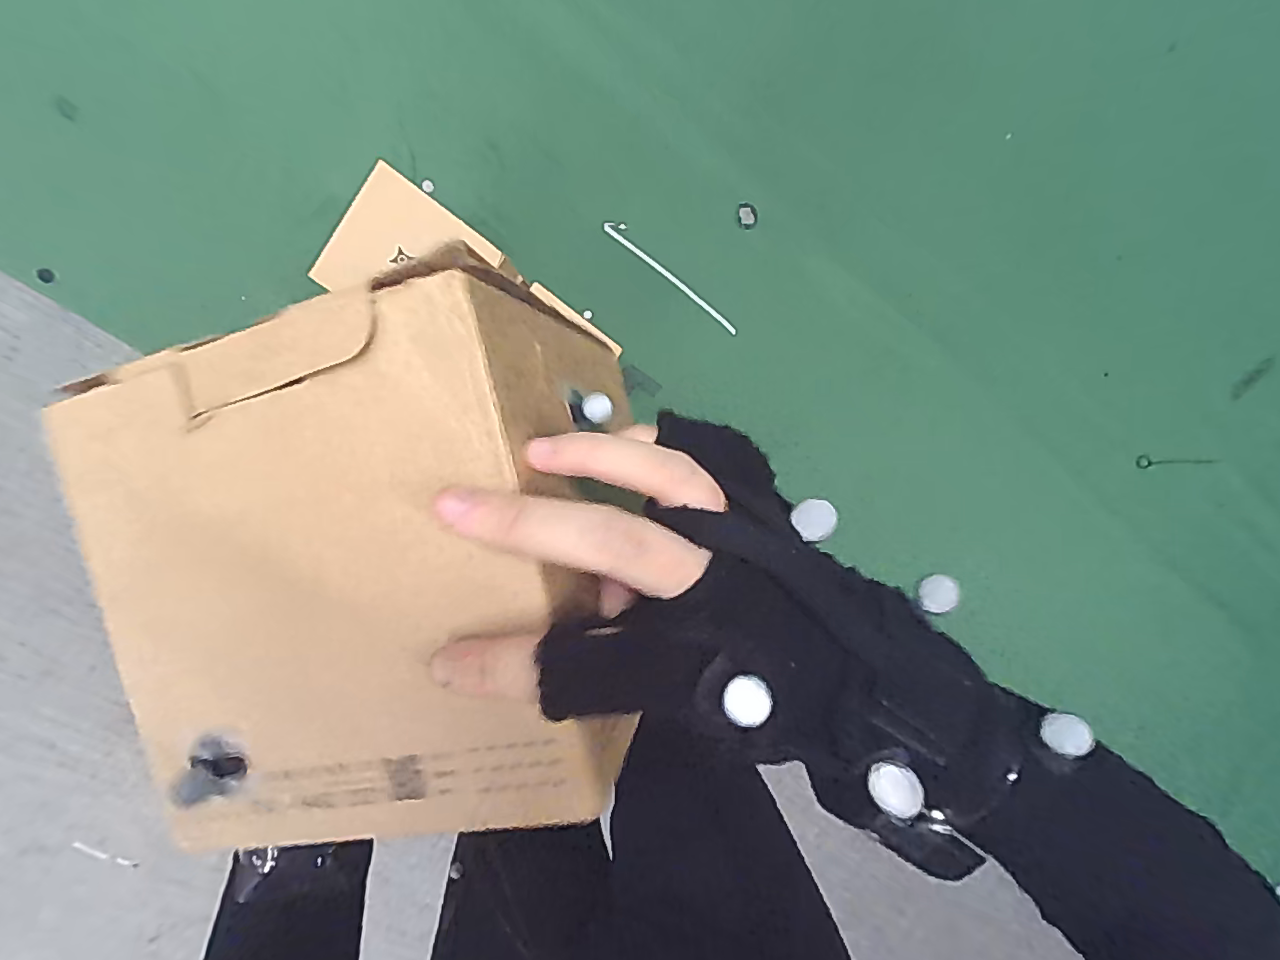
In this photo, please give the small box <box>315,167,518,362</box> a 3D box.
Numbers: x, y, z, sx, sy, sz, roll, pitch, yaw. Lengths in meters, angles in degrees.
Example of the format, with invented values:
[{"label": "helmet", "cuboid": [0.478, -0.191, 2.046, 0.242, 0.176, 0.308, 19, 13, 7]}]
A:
[{"label": "small box", "cuboid": [-0.290, -0.278, 0.744, 0.179, 0.176, 0.168, 36, 97, -14]}]
